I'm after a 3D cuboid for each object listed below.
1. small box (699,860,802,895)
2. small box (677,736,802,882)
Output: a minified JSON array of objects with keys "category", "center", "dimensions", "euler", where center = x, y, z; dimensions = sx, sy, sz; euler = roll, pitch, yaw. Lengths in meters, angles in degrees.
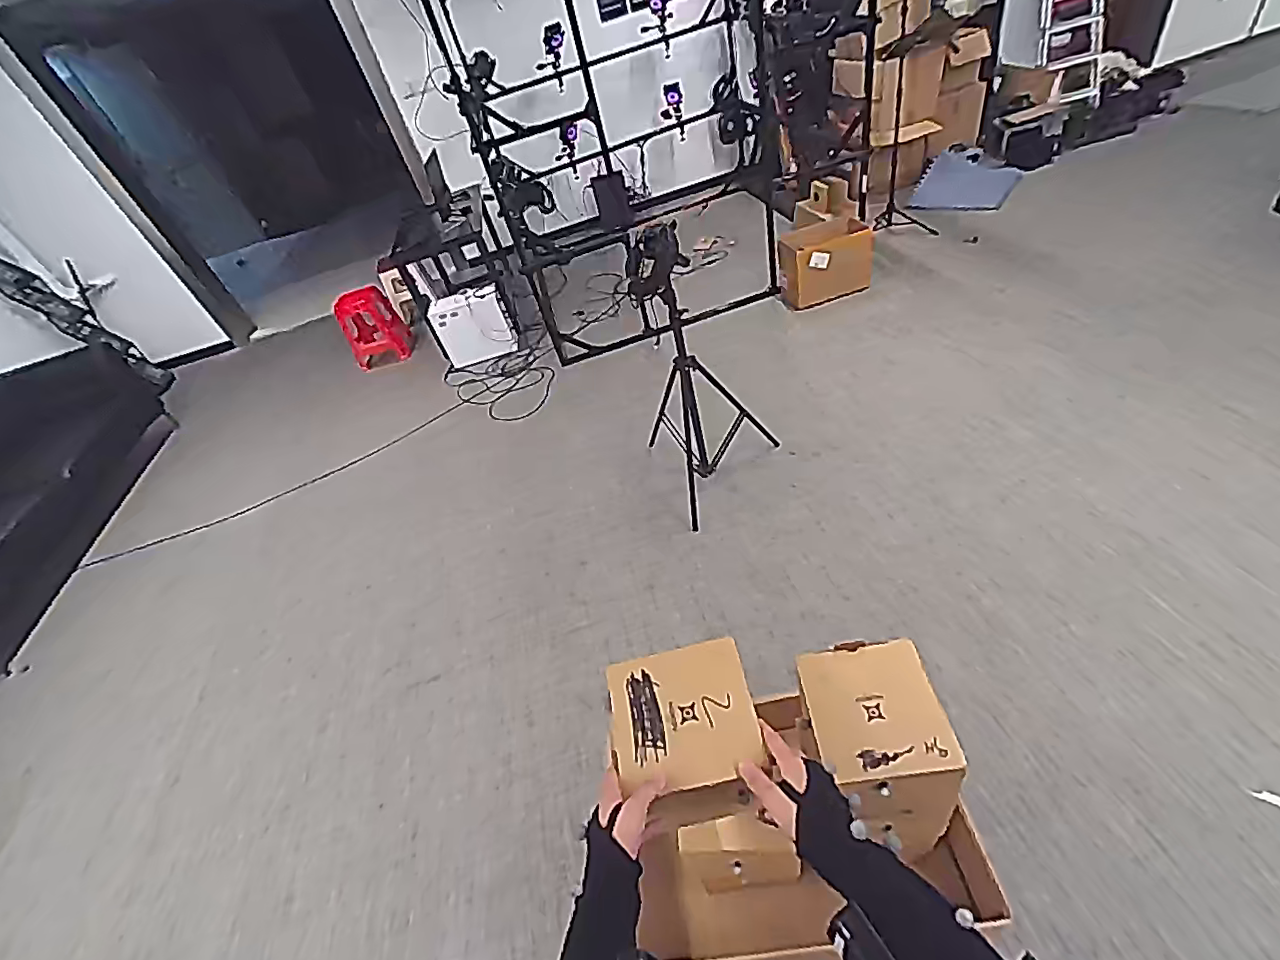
[{"category":"small box","center":[0.189,0.639,0.991],"dimensions":[0.179,0.176,0.168],"euler":[-11,42,6]},{"category":"small box","center":[0.159,0.530,0.872],"dimensions":[0.179,0.176,0.168],"euler":[-8,42,10]}]
